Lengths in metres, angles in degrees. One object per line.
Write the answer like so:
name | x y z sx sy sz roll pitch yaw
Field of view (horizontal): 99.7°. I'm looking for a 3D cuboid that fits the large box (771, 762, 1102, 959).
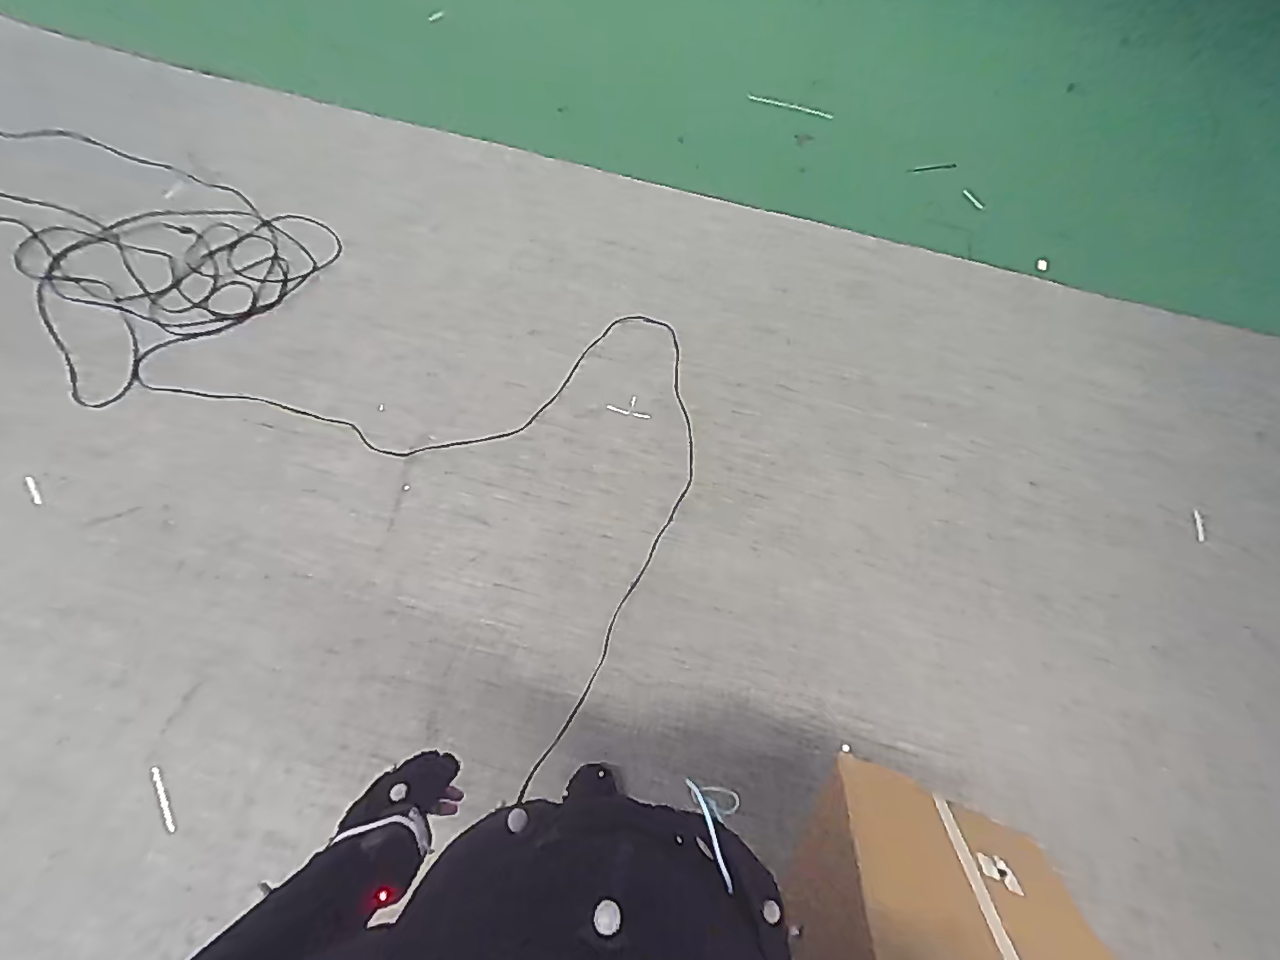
large box | 0.362 0.661 0.680 0.320 0.408 0.320 23 97 13
